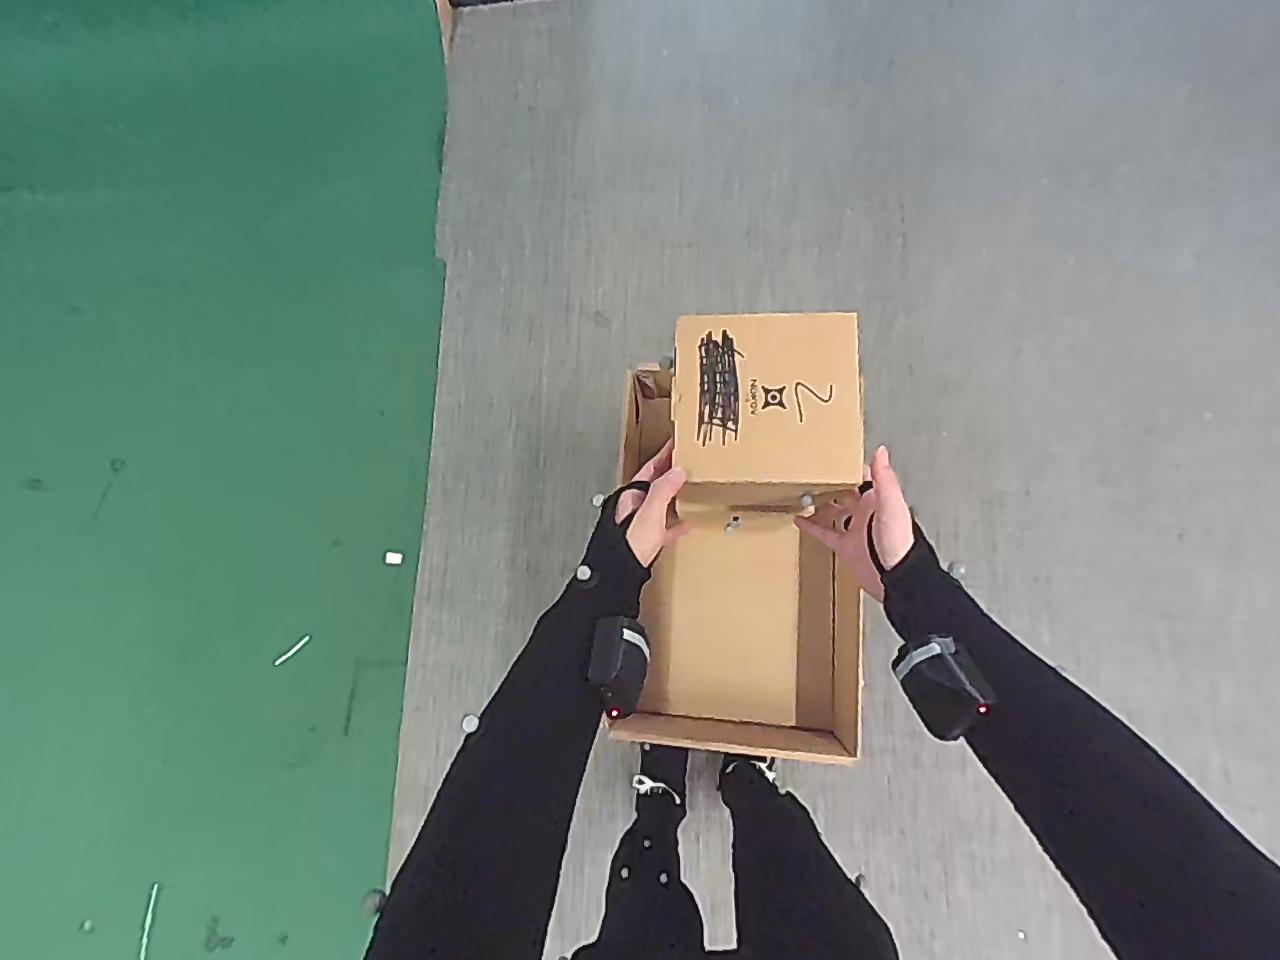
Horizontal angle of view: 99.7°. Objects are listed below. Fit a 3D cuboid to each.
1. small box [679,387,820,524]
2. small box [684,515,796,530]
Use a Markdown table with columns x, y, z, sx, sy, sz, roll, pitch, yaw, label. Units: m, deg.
| x | y | z | sx | sy | sz | roll | pitch | yaw | label |
| --- | --- | --- | --- | --- | --- | --- | --- | --- | --- |
| 0.149 | -0.028 | 0.770 | 0.179 | 0.176 | 0.168 | 1 | 81 | 8 | small box |
| 0.170 | -0.004 | 0.932 | 0.179 | 0.176 | 0.168 | 3 | 81 | 7 | small box |
